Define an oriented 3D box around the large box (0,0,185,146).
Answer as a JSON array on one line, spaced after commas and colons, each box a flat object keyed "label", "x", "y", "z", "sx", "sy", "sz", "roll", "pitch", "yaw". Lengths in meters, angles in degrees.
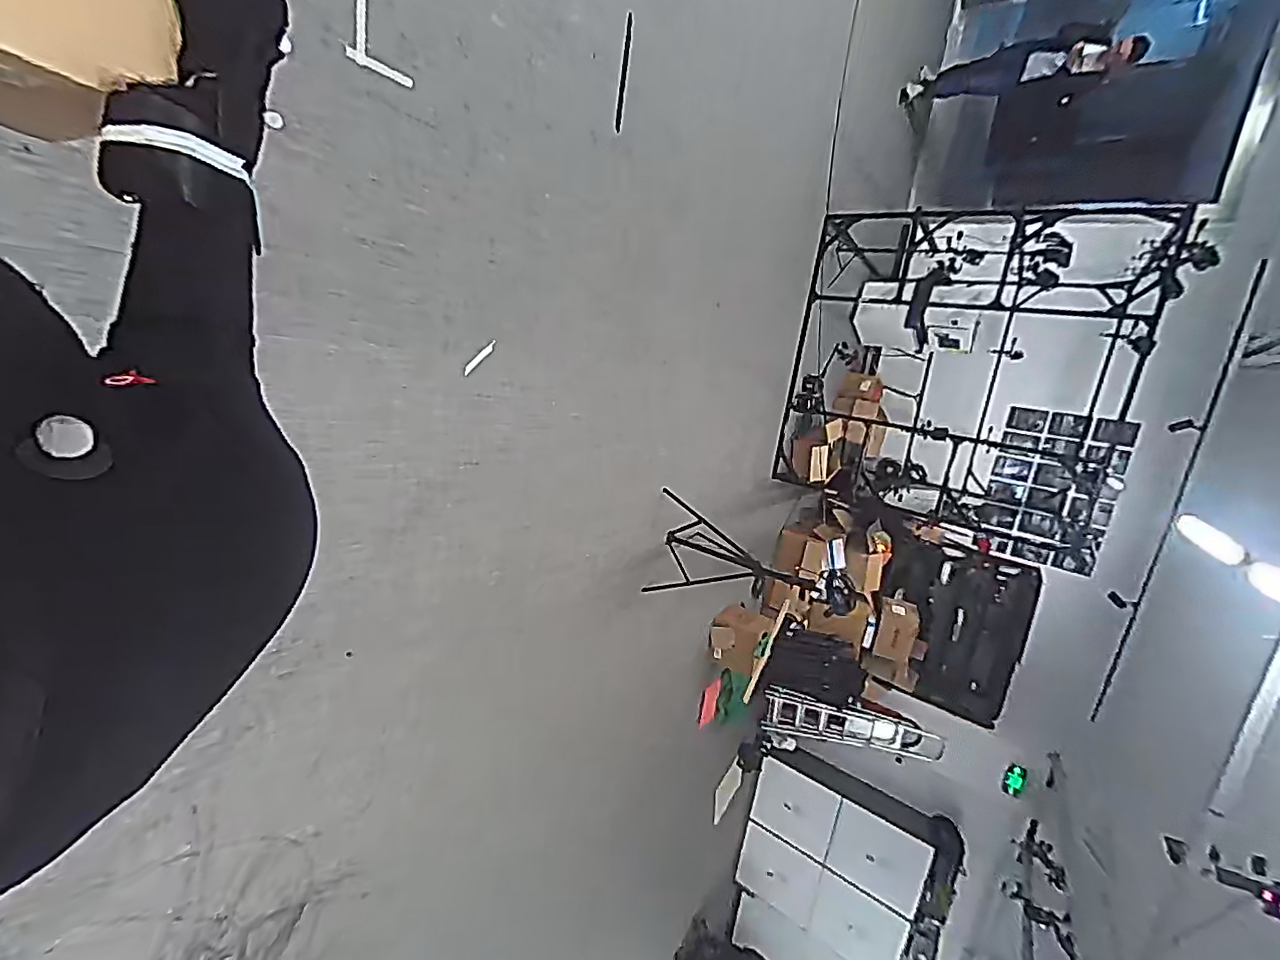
[{"label": "large box", "x": -0.537, "y": -0.435, "z": 0.279, "sx": 0.408, "sy": 0.320, "sz": 0.320, "roll": -2, "pitch": 108, "yaw": -58}]
